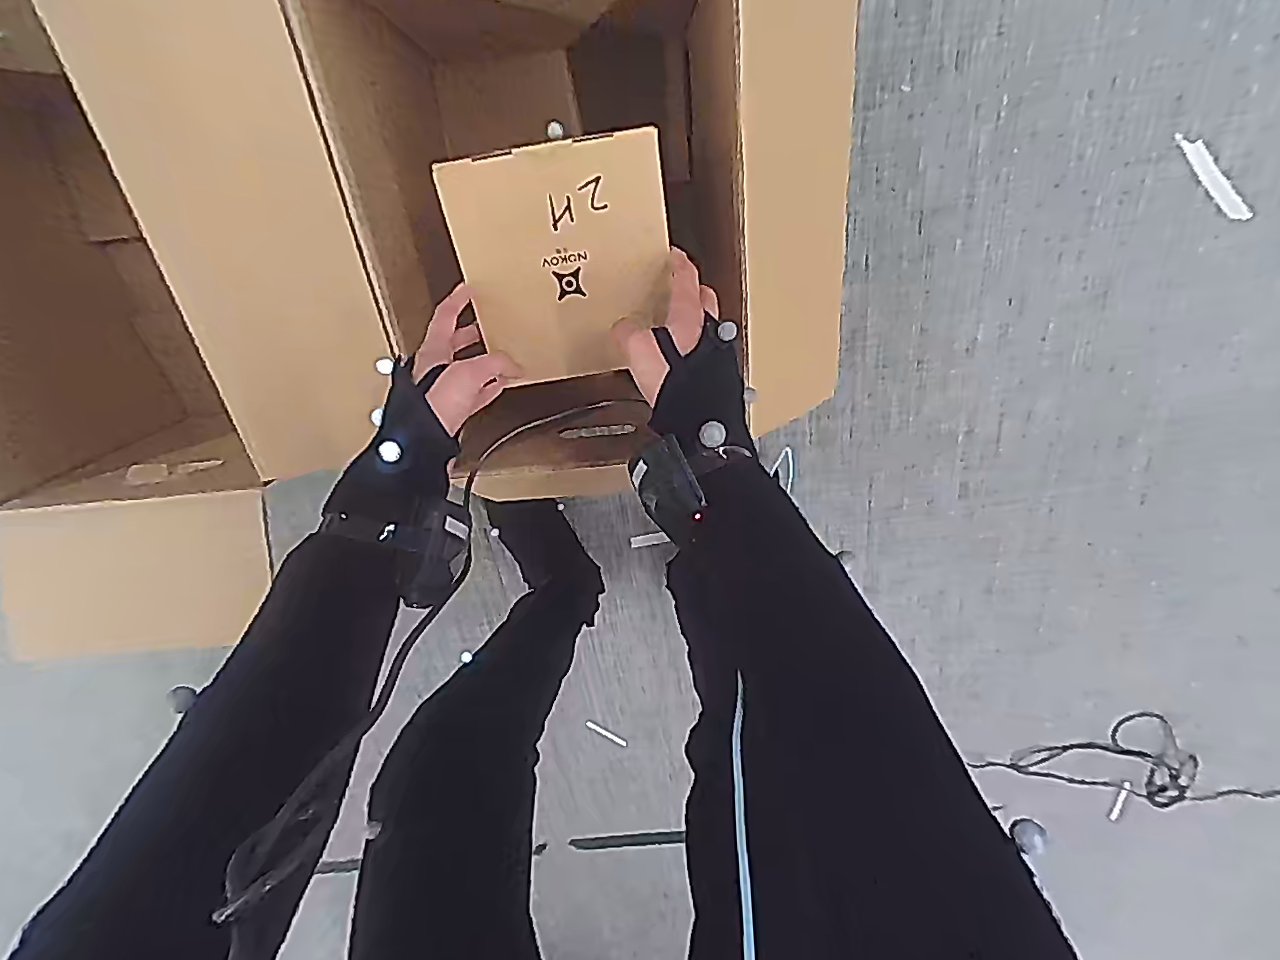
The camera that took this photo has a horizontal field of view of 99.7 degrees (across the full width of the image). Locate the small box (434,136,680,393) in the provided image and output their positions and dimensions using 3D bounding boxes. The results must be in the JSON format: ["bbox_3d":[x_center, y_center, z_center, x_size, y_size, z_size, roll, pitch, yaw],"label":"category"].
[{"bbox_3d":[-0.057,-0.200,0.492,0.168,0.176,0.179,-8,121,3],"label":"small box"}]
